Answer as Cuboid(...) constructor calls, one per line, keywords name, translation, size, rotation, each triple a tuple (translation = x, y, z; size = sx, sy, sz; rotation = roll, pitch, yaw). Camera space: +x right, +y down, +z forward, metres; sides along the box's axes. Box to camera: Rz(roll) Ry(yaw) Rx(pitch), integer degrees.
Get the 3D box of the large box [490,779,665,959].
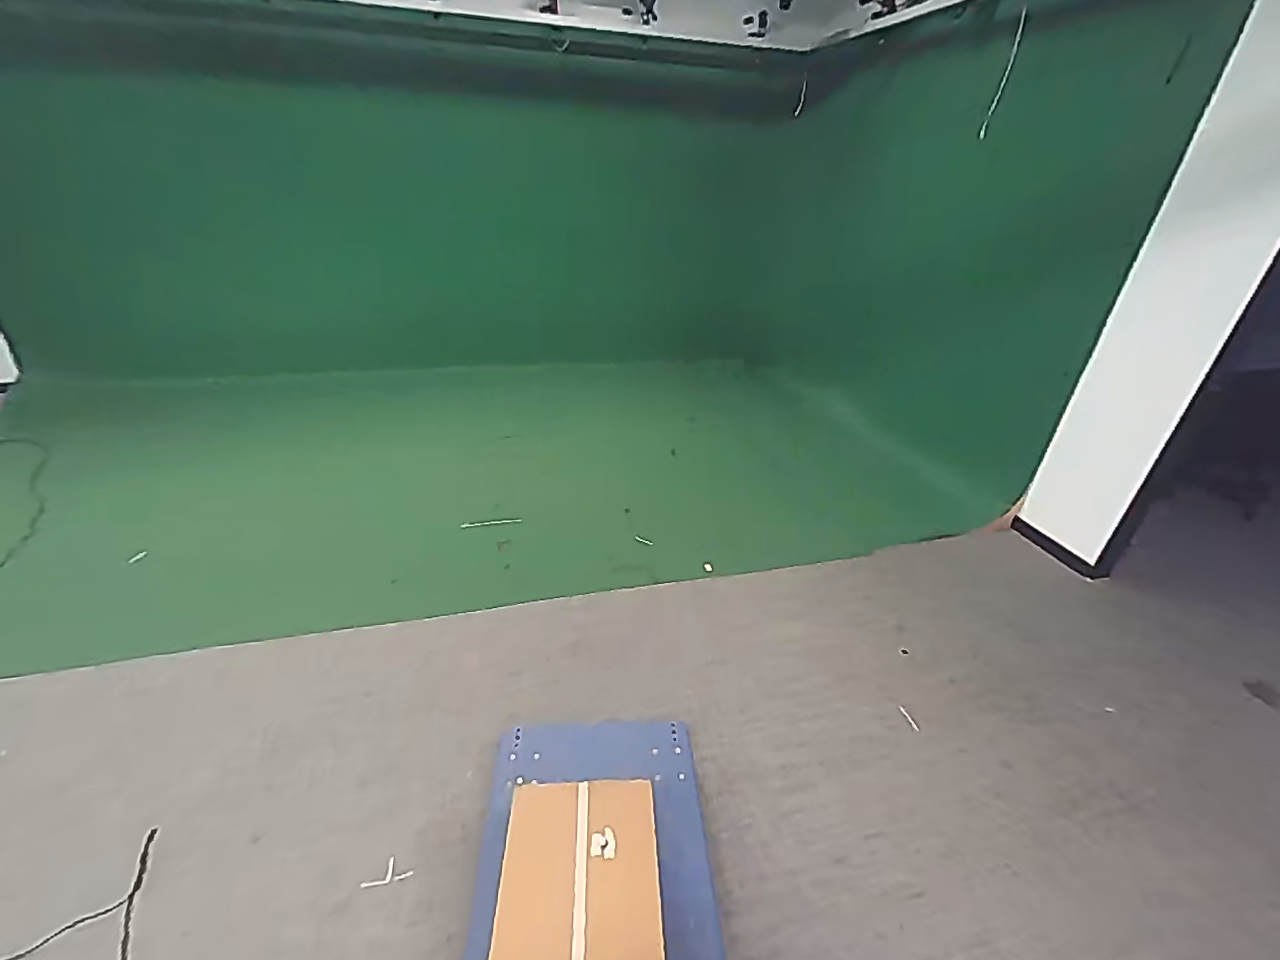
Cuboid(name="large box", translation=(-0.123, 0.922, 1.140), size=(0.320, 0.320, 0.408), rotation=(0, 29, -4))
